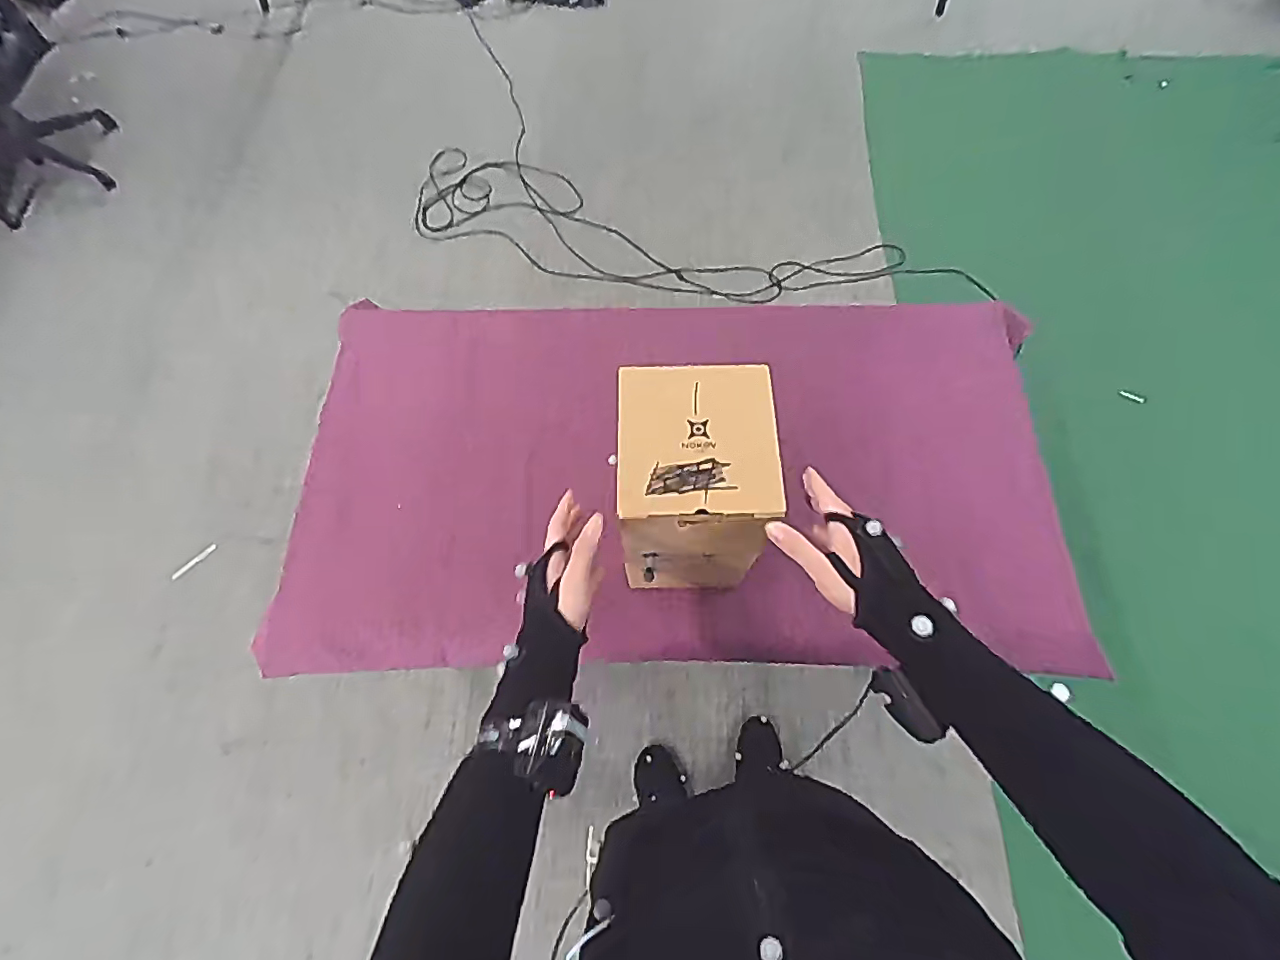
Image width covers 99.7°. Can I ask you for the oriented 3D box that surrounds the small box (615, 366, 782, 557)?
[{"bbox_3d":[0.060,-0.012,0.630,0.168,0.176,0.179,0,67,1],"label":"small box"}]
